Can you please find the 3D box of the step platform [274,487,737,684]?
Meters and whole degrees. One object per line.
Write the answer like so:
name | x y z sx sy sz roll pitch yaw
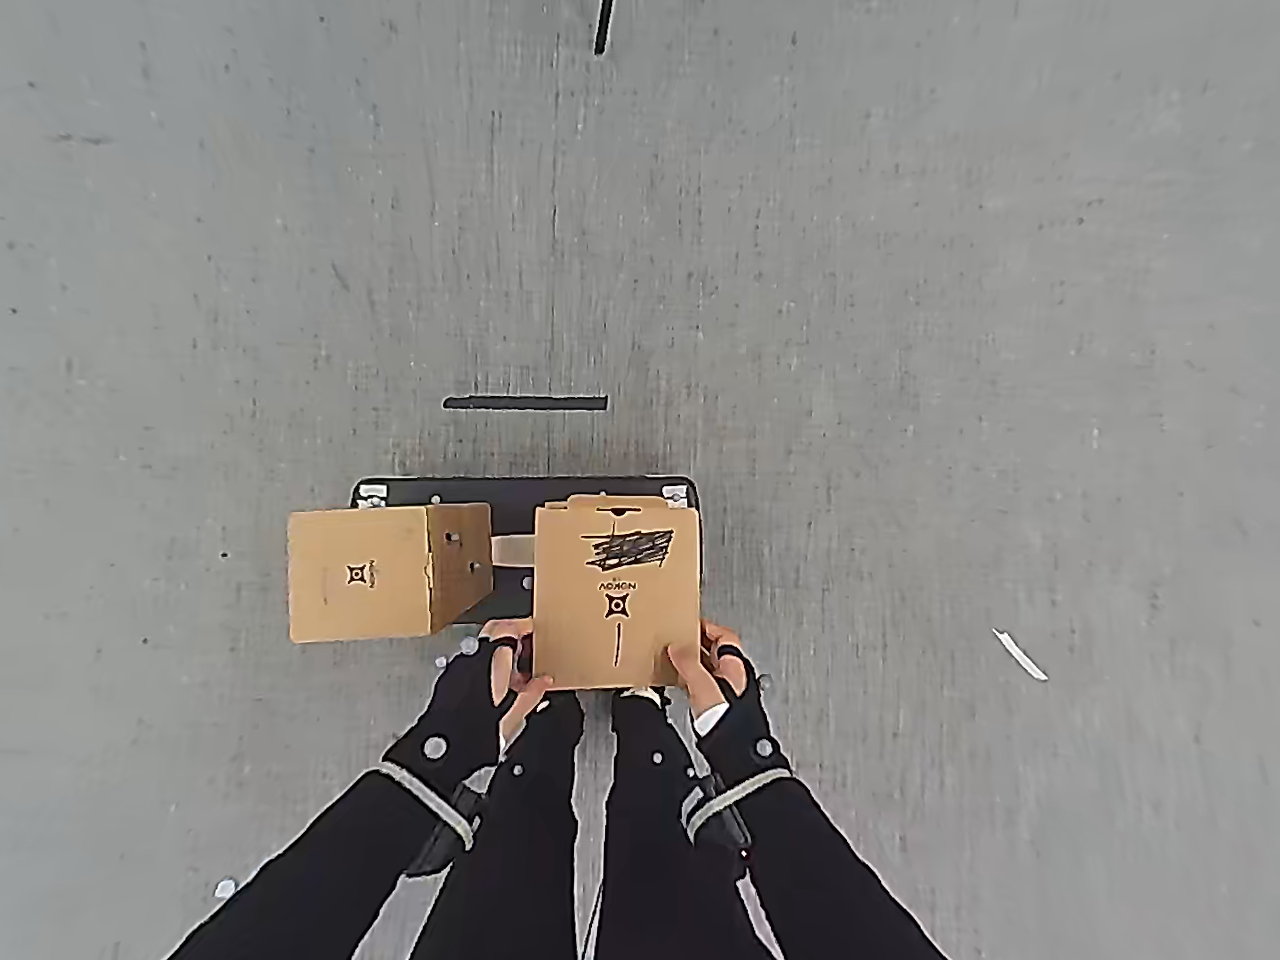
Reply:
step platform | -0.197 0.158 0.895 0.684 0.204 0.286 0 88 -3

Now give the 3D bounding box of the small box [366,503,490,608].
small box | -0.358 0.124 0.926 0.179 0.176 0.168 -2 89 -2

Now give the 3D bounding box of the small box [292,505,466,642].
small box | -0.352 0.121 0.762 0.179 0.176 0.168 -3 88 -2

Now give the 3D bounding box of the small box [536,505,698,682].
small box | -0.033 0.124 0.627 0.168 0.176 0.179 1 82 -8

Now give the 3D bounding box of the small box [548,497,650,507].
small box | -0.068 0.120 0.937 0.168 0.176 0.179 -1 88 -1
